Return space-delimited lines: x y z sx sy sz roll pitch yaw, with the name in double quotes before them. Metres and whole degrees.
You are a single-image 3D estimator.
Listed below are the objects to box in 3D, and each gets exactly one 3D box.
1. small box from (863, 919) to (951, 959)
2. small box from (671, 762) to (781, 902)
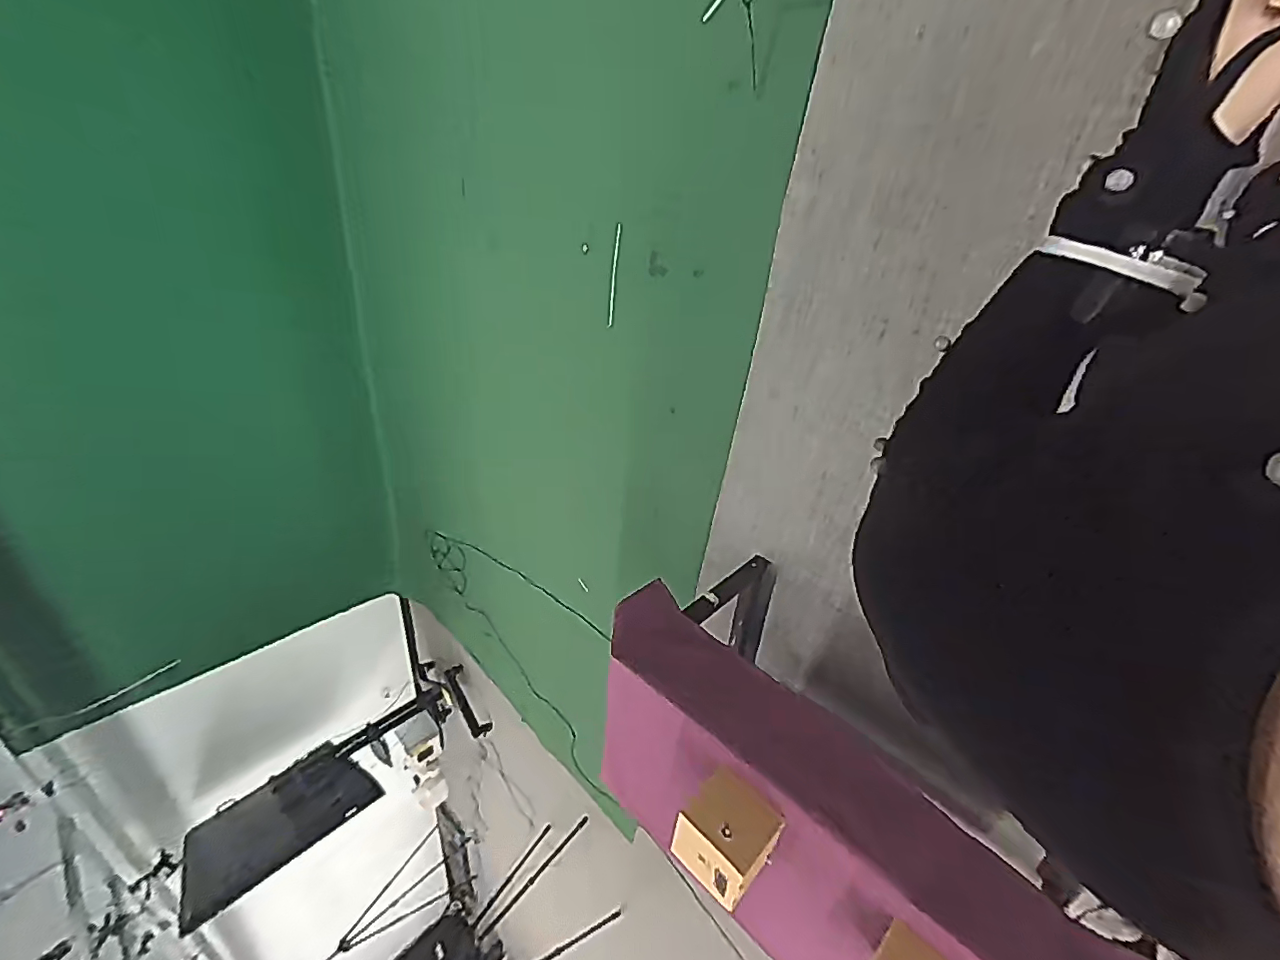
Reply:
"small box" 0.500 0.974 1.005 0.179 0.176 0.168 28 128 36
"small box" 0.197 0.798 1.242 0.179 0.176 0.168 31 128 34
